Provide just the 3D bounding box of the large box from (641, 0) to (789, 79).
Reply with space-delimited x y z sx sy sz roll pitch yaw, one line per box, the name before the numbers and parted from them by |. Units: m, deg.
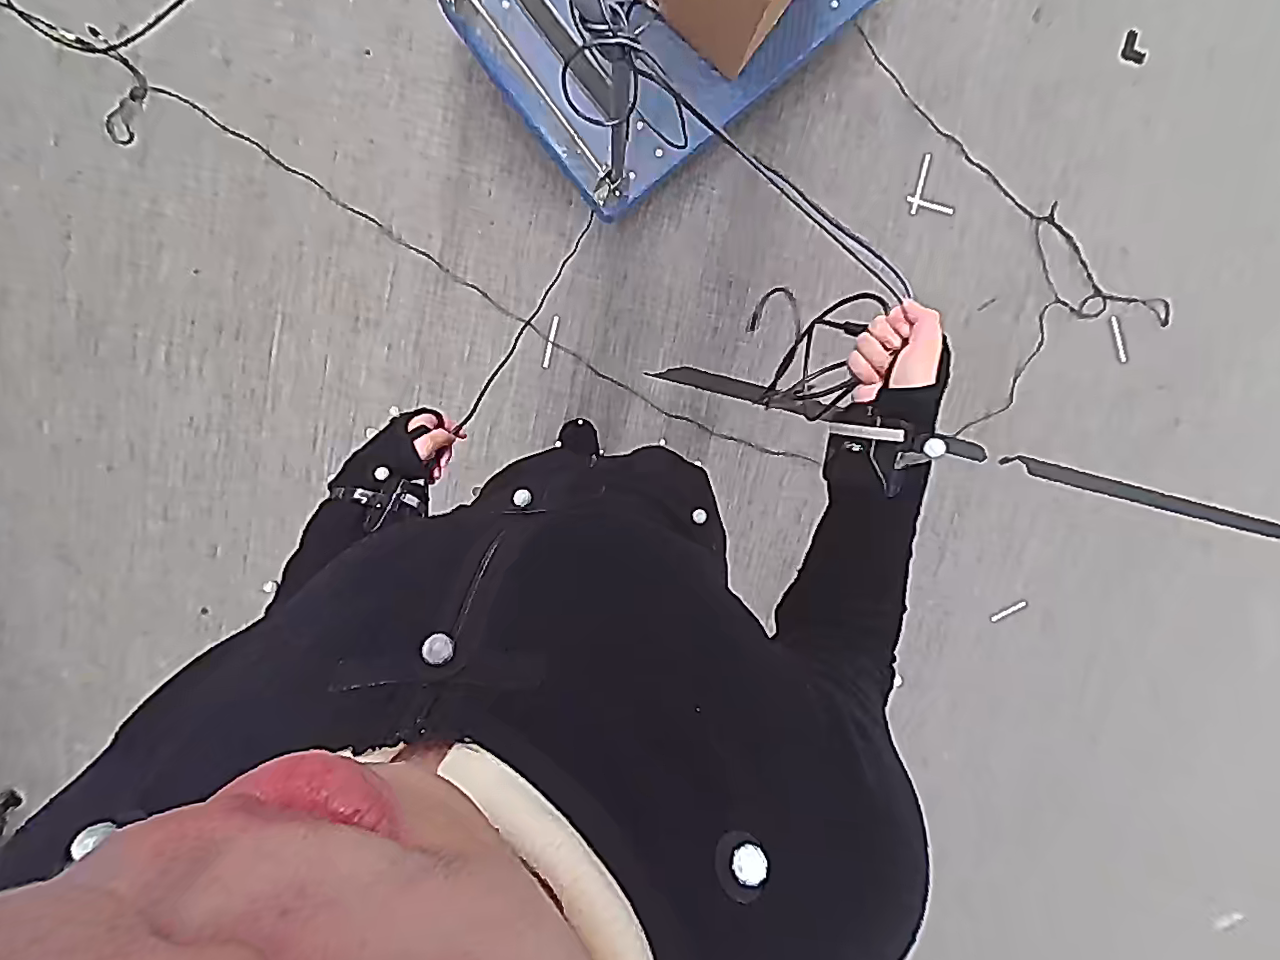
large box | 0.146 -1.091 1.007 0.408 0.320 0.320 35 95 -10
